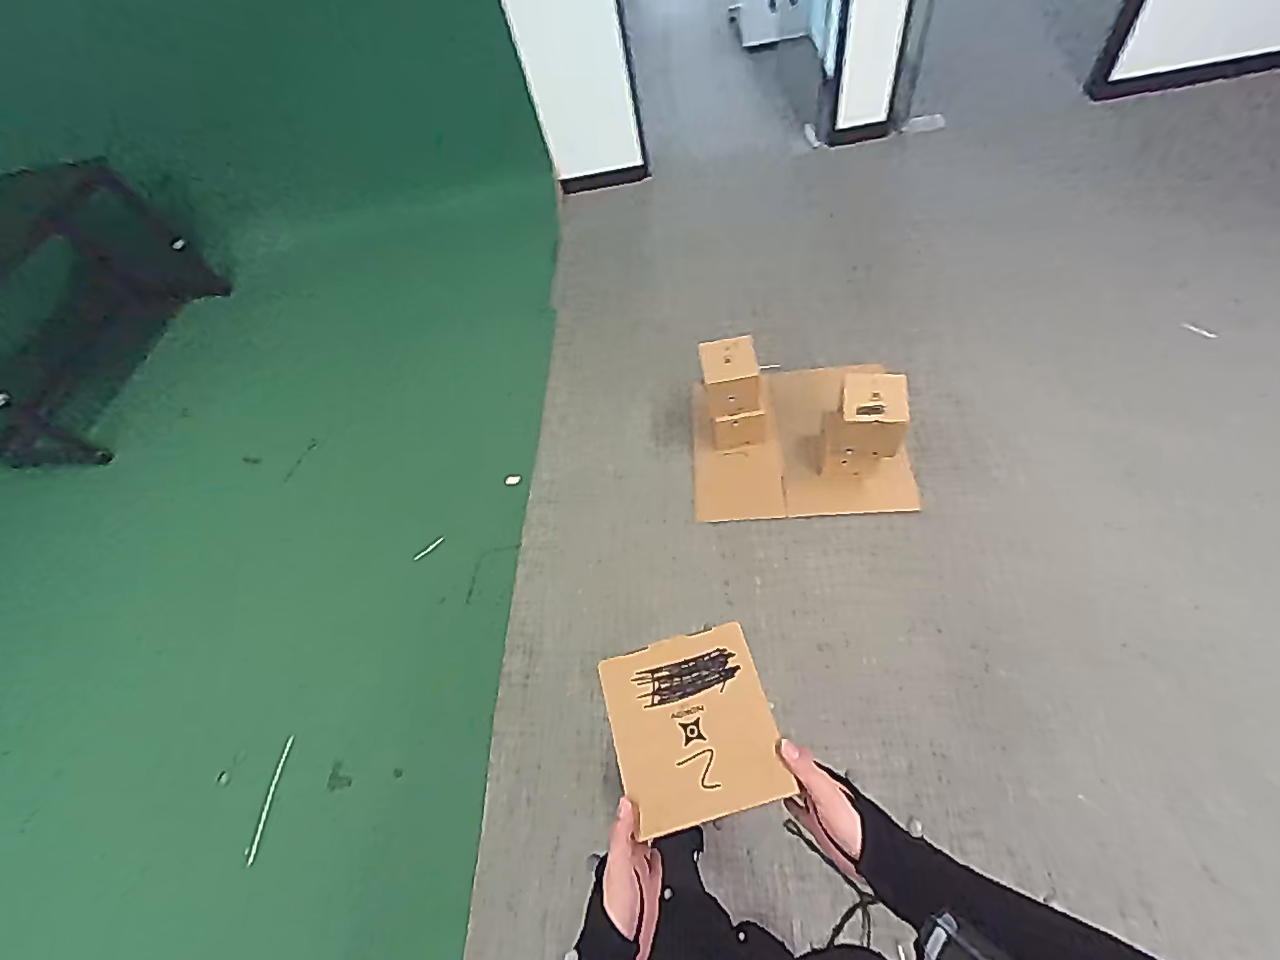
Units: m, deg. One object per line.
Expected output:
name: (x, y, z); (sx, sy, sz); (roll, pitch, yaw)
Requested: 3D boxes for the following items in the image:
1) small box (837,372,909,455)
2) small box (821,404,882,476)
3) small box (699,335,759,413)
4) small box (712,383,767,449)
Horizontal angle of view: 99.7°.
small box: (0.662, -0.188, 1.548); (0.168, 0.176, 0.179); (4, 58, 14)
small box: (0.666, -0.124, 1.704); (0.168, 0.176, 0.179); (0, 58, 13)
small box: (0.286, -0.329, 1.721); (0.168, 0.176, 0.179); (-8, 56, 6)
small box: (0.335, -0.232, 1.847); (0.168, 0.176, 0.179); (-10, 57, 6)
